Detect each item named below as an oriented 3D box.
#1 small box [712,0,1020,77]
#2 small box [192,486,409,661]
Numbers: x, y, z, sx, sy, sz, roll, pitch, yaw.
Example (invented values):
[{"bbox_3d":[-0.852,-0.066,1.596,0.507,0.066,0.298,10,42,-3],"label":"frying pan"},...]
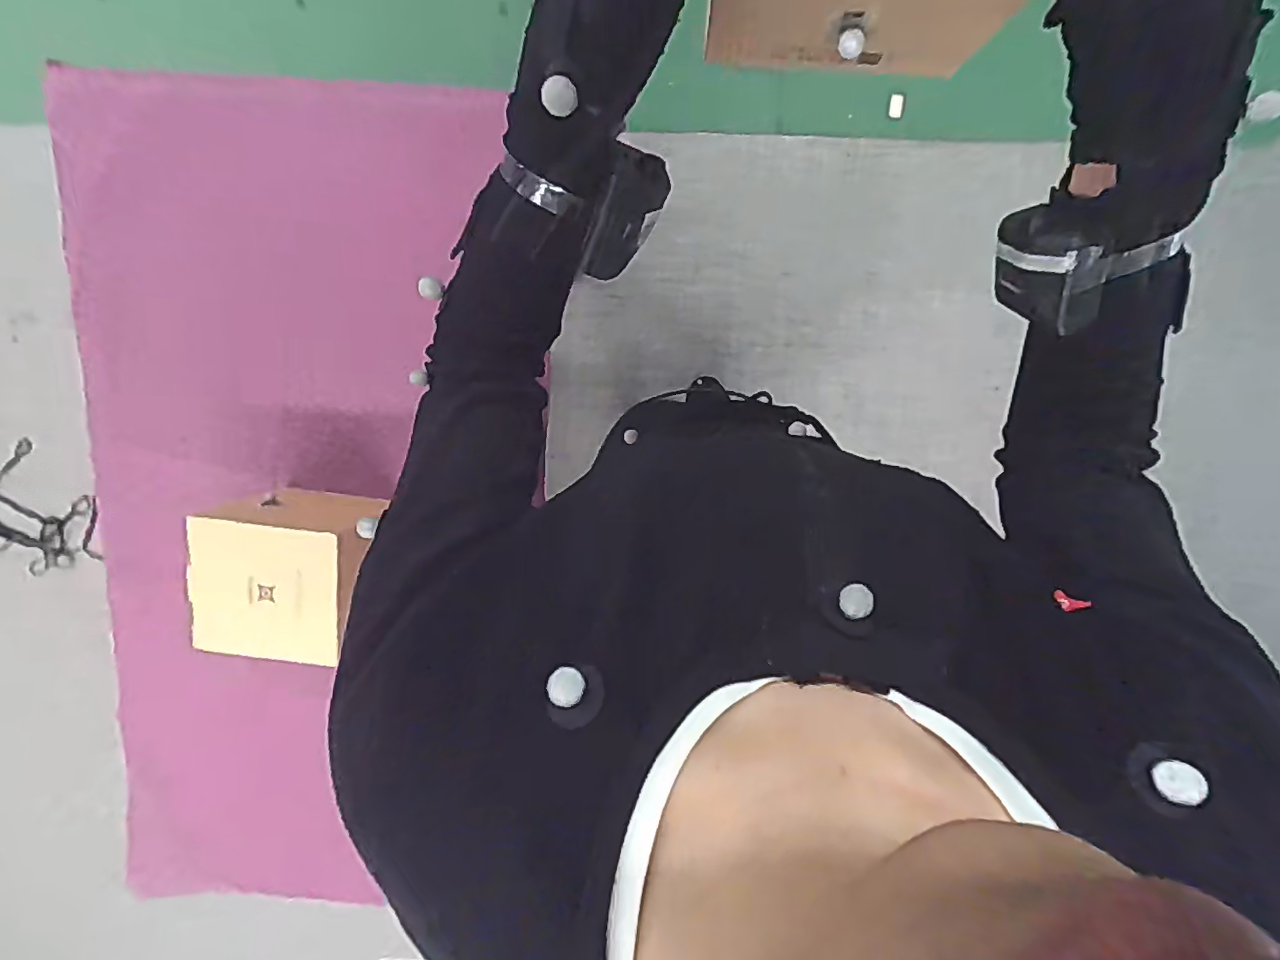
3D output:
[{"bbox_3d":[0.130,-0.342,0.263,0.168,0.176,0.179,6,103,2],"label":"small box"},{"bbox_3d":[-0.425,0.107,0.698,0.179,0.176,0.168,7,101,0],"label":"small box"}]
